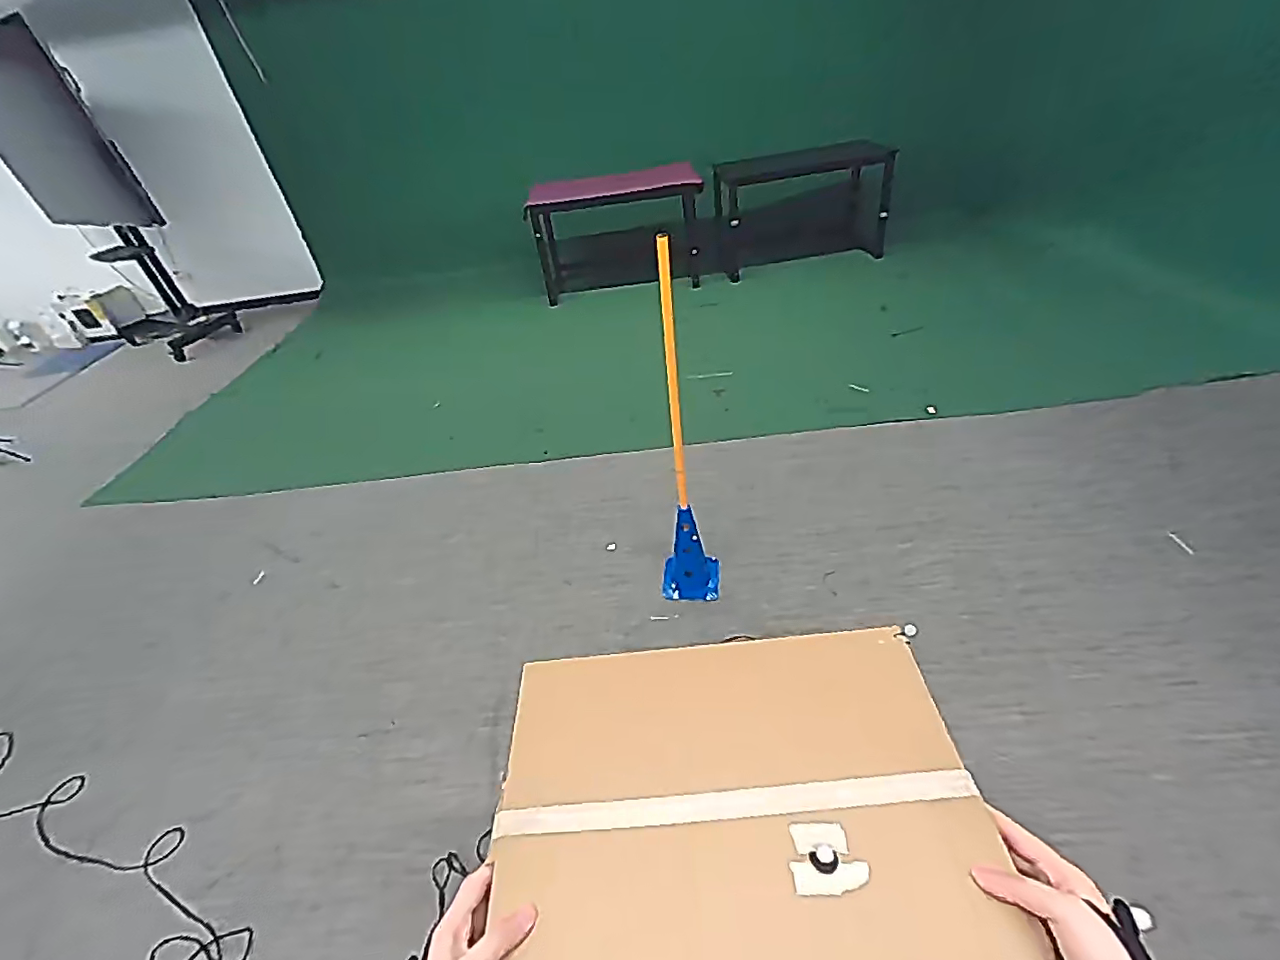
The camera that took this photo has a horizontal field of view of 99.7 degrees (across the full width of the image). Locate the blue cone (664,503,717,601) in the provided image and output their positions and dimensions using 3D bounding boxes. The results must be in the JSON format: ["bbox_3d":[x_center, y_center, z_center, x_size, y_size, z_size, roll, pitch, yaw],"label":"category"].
[{"bbox_3d":[0.167,0.239,1.885,0.193,0.380,0.192,0,38,11],"label":"blue cone"}]

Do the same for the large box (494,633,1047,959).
[{"bbox_3d":[0.096,0.397,0.565,0.408,0.320,0.320,-6,40,3],"label":"large box"}]
